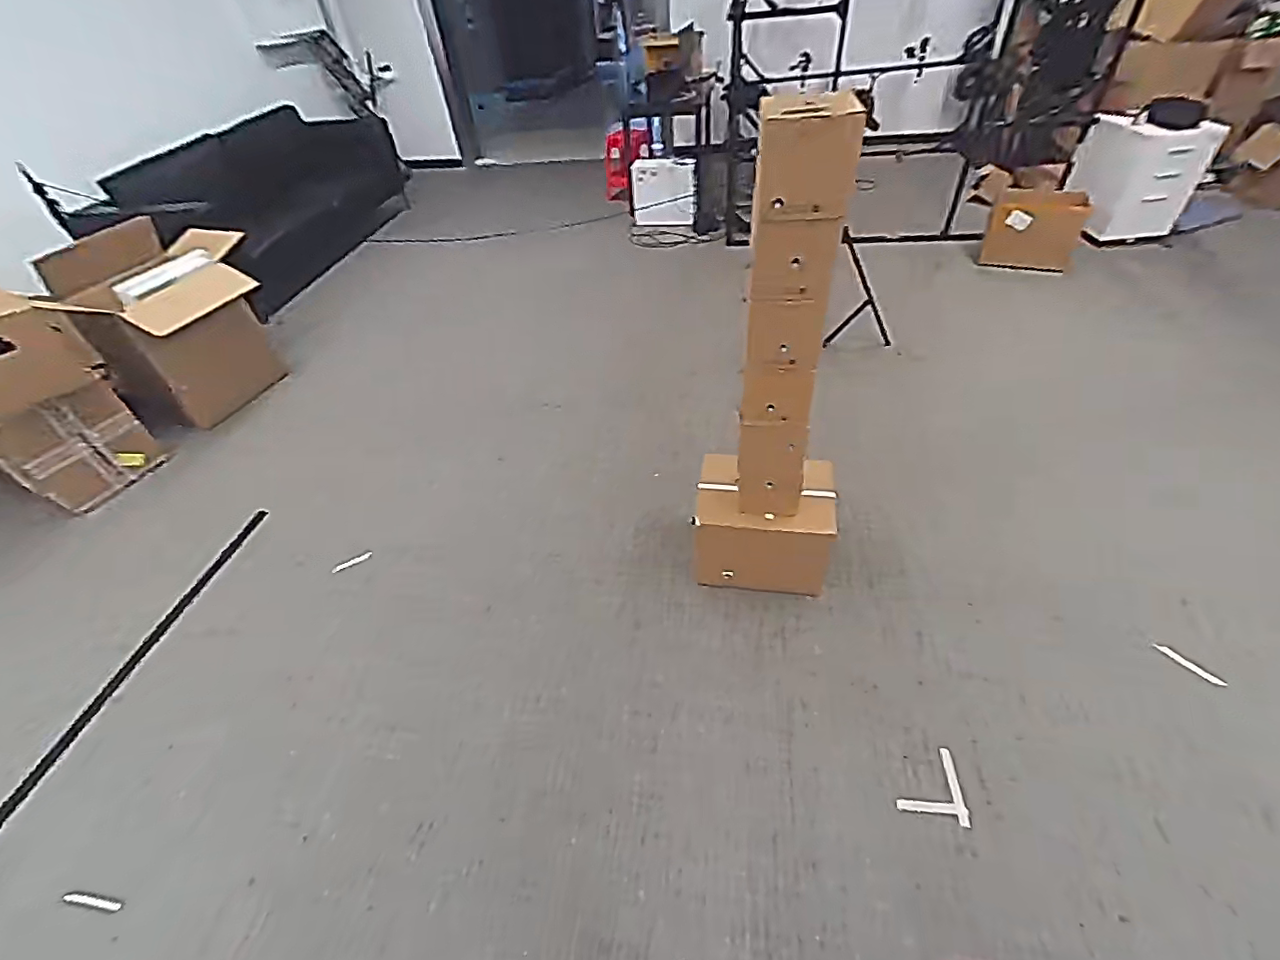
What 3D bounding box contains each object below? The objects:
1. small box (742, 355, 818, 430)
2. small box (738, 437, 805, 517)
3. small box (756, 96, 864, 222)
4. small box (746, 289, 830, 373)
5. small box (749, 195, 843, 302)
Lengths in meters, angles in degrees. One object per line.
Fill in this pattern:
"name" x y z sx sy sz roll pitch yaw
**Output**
"small box" 0.346 -0.248 1.362 0.168 0.176 0.179 3 46 9
"small box" 0.379 -0.007 1.580 0.179 0.176 0.168 3 46 8
"small box" 0.309 -0.597 1.016 0.168 0.176 0.179 1 45 8
"small box" 0.333 -0.368 1.250 0.168 0.176 0.179 1 46 9
"small box" 0.321 -0.488 1.139 0.168 0.176 0.179 2 46 8
